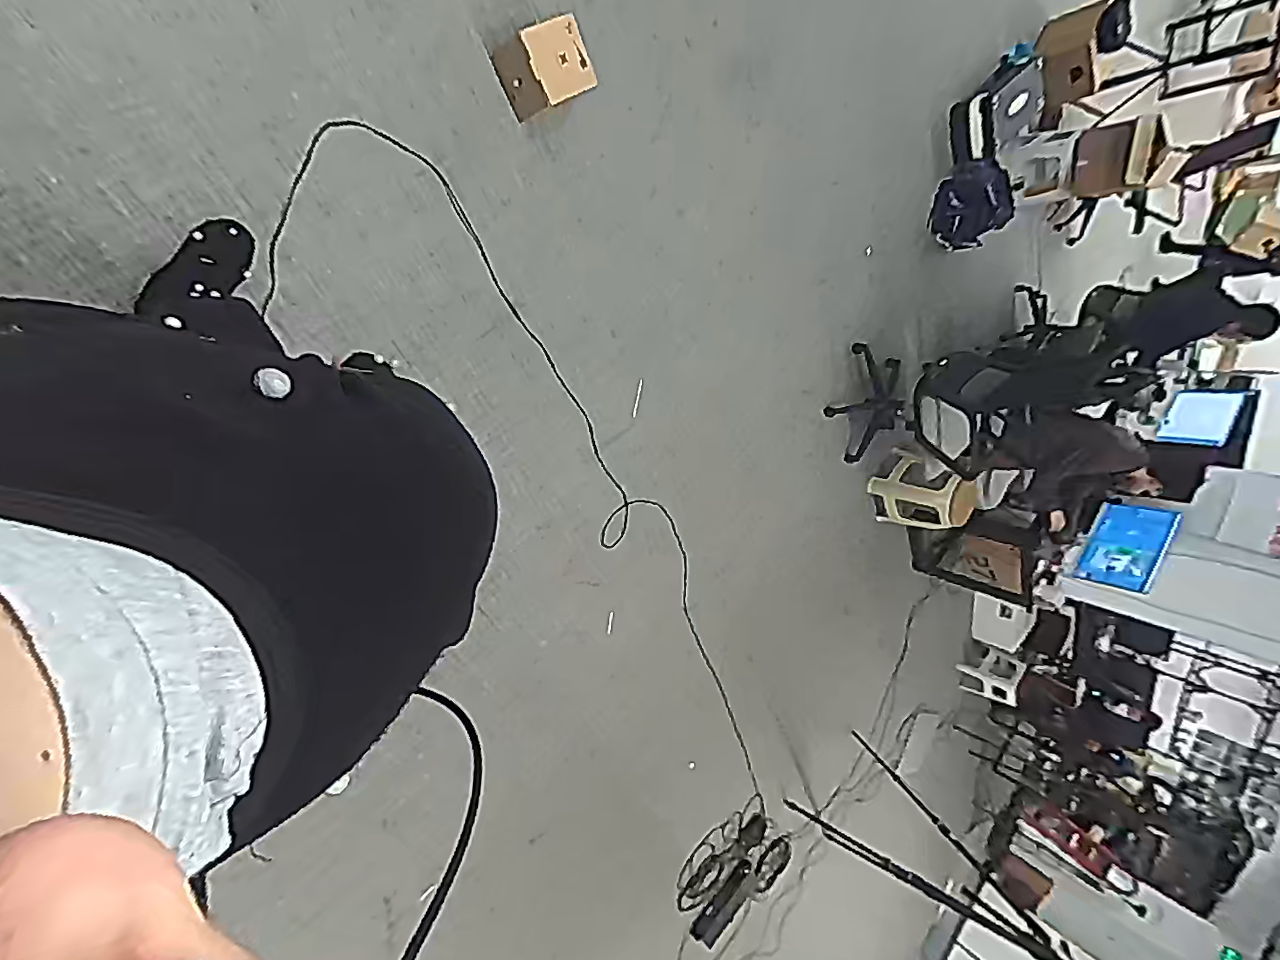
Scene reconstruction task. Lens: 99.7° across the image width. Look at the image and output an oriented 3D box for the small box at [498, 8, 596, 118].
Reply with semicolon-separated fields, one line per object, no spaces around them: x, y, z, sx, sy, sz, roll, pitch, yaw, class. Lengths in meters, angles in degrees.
-0.256;-1.102;1.442;0.179;0.176;0.168;-42;124;-23;small box
